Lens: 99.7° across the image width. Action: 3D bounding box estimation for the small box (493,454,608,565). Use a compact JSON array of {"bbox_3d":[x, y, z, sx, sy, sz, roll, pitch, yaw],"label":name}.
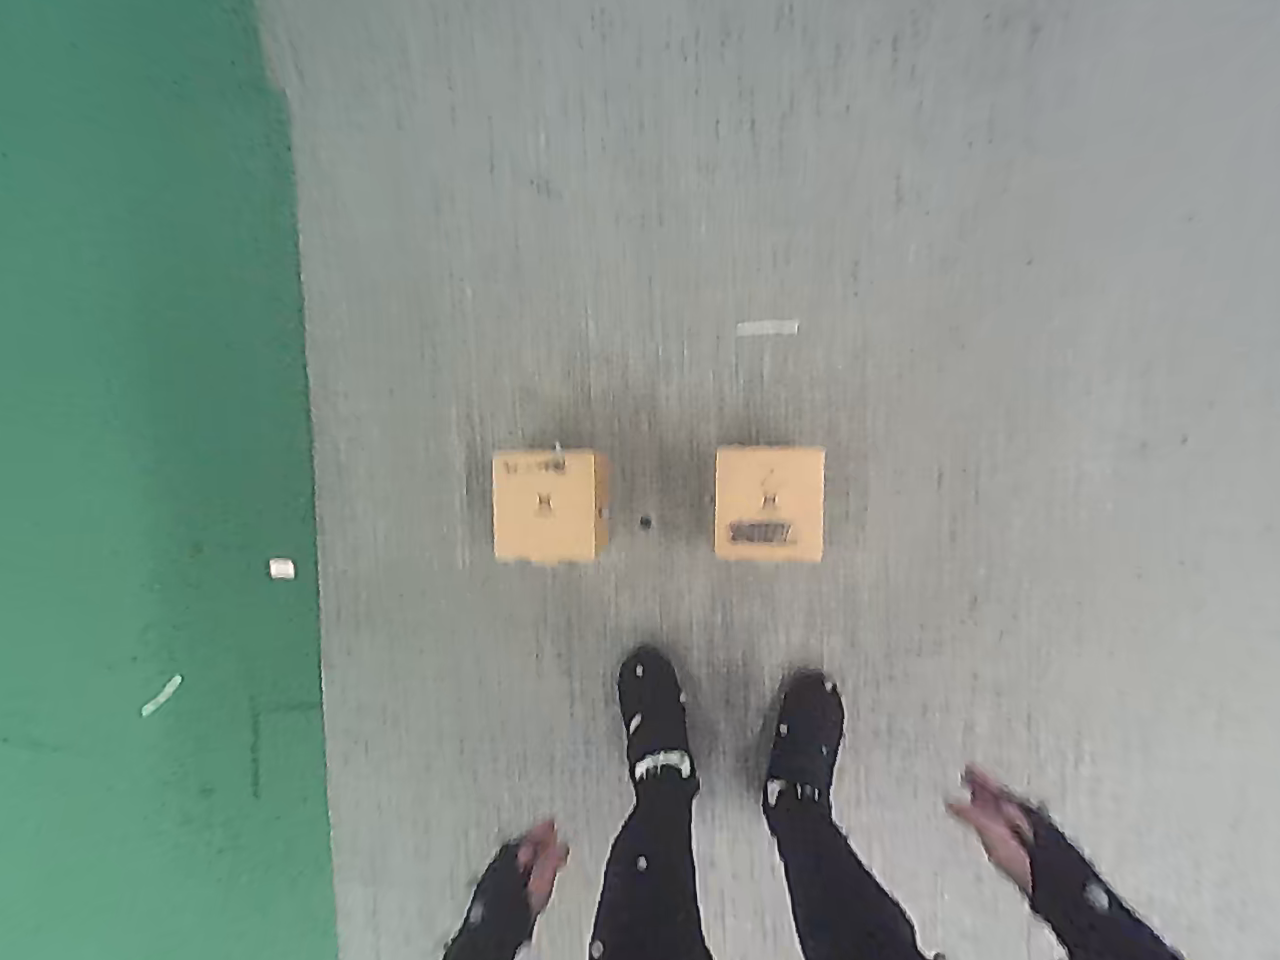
[{"bbox_3d":[-0.147,0.044,0.938,0.168,0.176,0.179,0,92,5],"label":"small box"}]
